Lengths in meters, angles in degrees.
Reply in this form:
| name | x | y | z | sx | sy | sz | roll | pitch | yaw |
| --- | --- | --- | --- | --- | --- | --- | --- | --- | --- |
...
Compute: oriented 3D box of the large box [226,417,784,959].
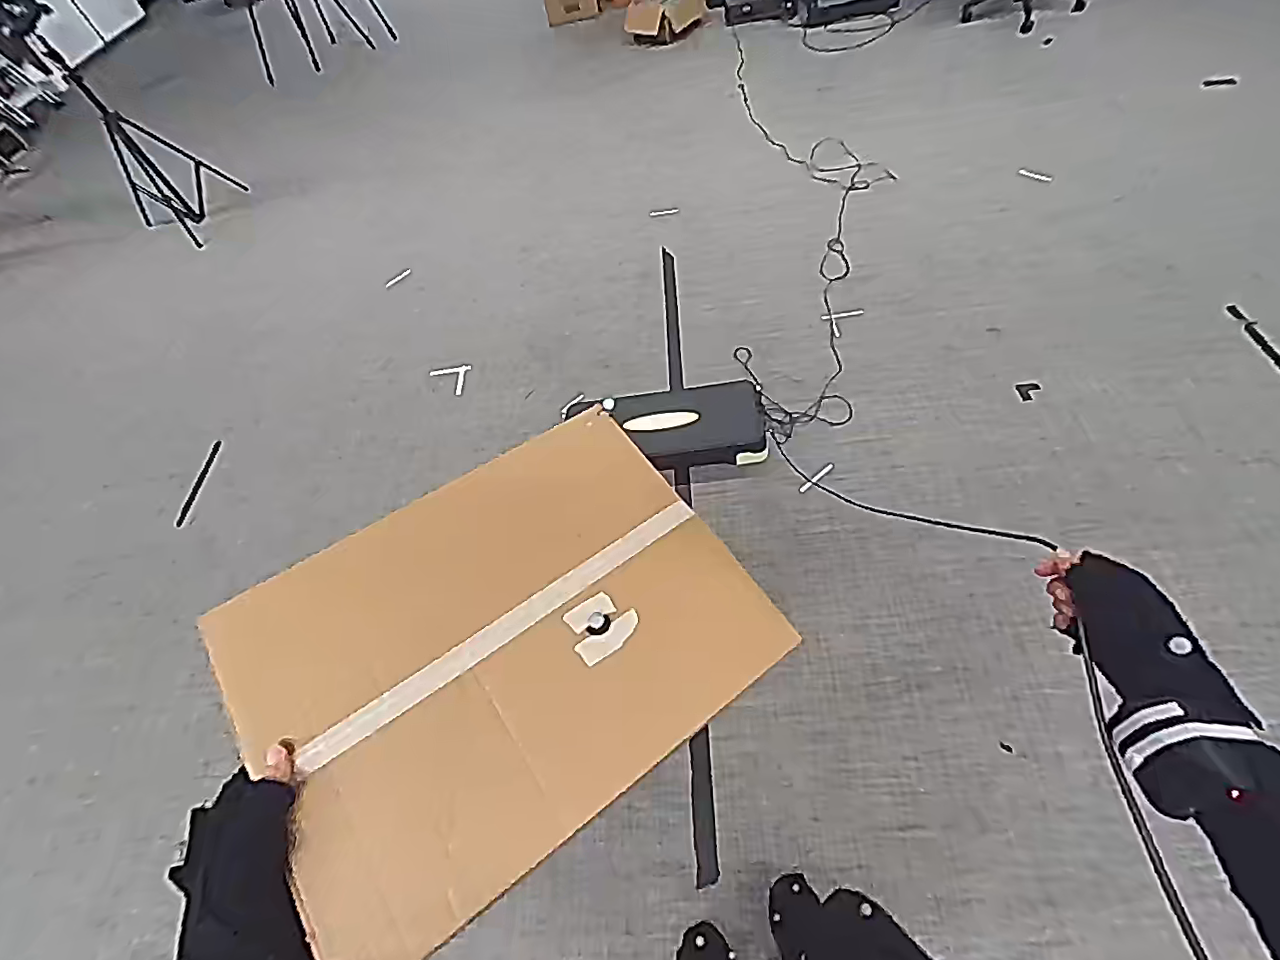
| name | x | y | z | sx | sy | sz | roll | pitch | yaw |
| --- | --- | --- | --- | --- | --- | --- | --- | --- | --- |
| large box | -0.121 | 0.209 | 0.603 | 0.408 | 0.320 | 0.320 | -31 | 66 | -20 |
